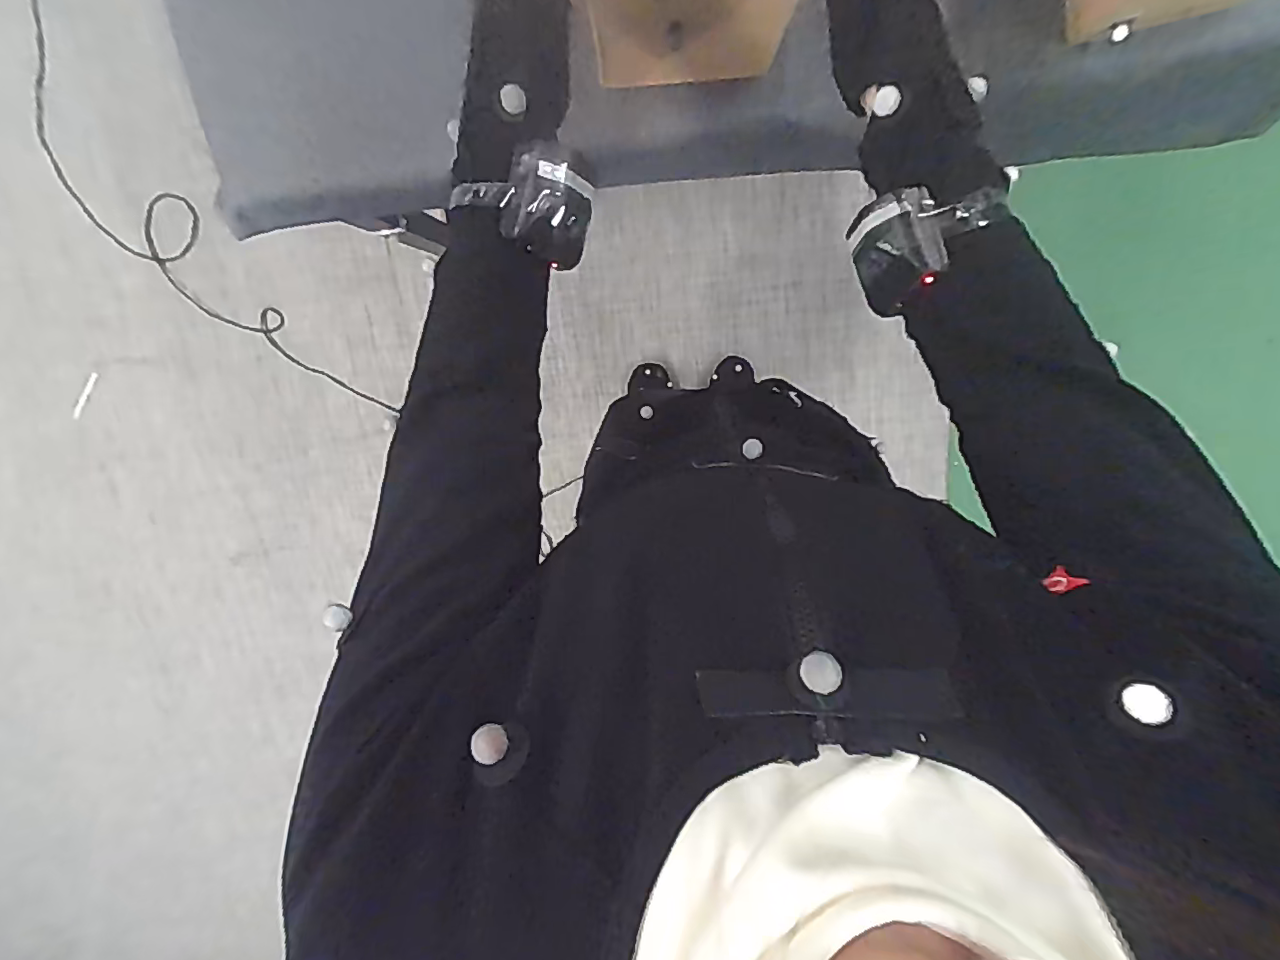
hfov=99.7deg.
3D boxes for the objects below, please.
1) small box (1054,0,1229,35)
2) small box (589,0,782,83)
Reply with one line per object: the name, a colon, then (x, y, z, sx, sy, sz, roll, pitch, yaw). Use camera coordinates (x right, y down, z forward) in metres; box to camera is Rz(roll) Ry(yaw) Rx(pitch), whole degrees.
small box: (0.495, -0.528, 0.464, 0.168, 0.176, 0.179, -10, 103, 4)
small box: (0.038, -0.488, 0.485, 0.179, 0.176, 0.168, -3, 104, 2)
